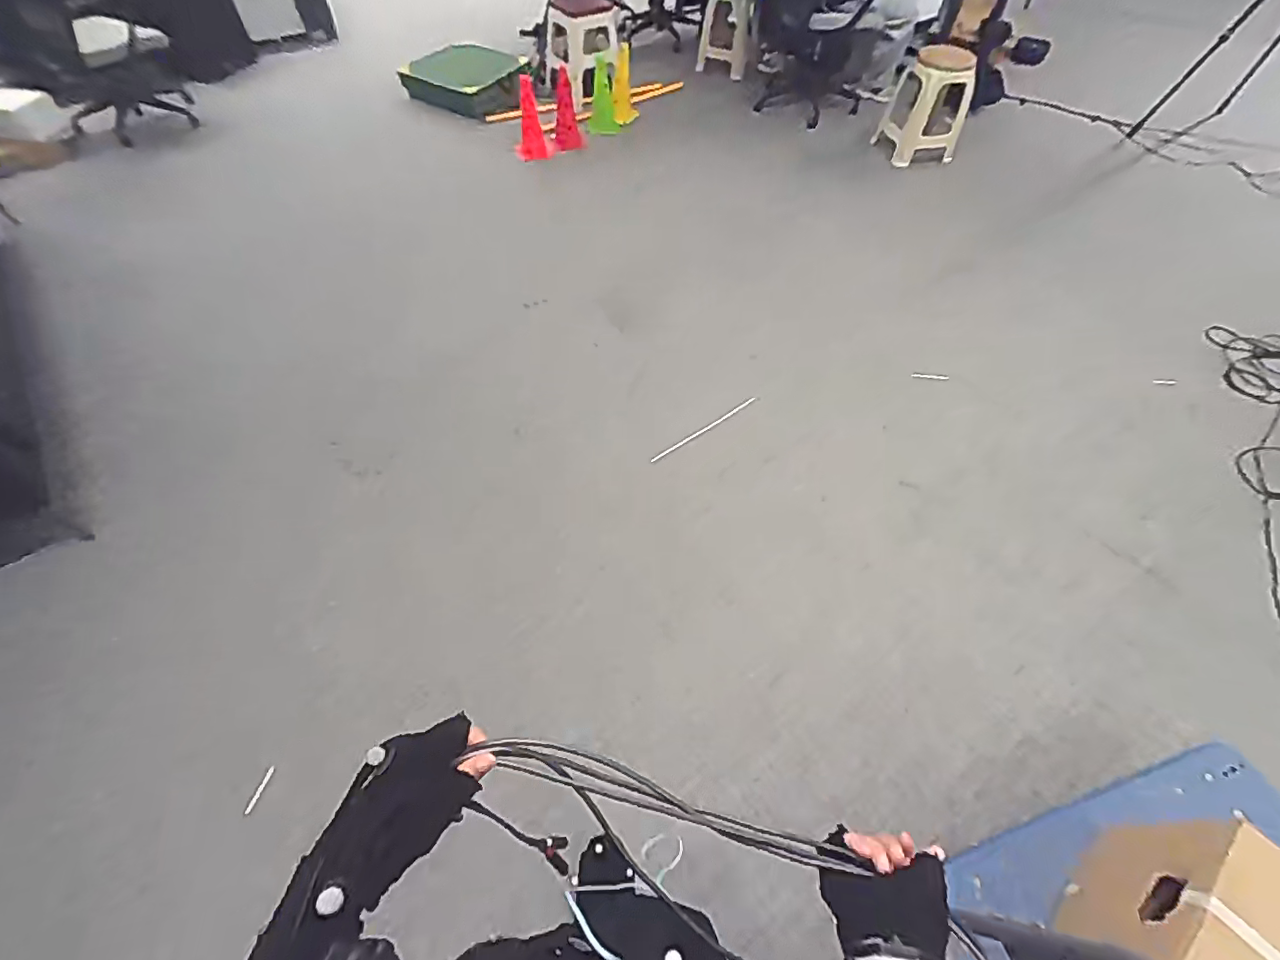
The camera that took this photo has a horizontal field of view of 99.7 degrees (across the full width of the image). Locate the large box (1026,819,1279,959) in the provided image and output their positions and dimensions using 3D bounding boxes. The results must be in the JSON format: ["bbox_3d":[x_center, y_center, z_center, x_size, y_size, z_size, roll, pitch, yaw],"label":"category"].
[{"bbox_3d":[0.934,0.814,0.823,0.320,0.320,0.408,-34,61,-22],"label":"large box"}]
